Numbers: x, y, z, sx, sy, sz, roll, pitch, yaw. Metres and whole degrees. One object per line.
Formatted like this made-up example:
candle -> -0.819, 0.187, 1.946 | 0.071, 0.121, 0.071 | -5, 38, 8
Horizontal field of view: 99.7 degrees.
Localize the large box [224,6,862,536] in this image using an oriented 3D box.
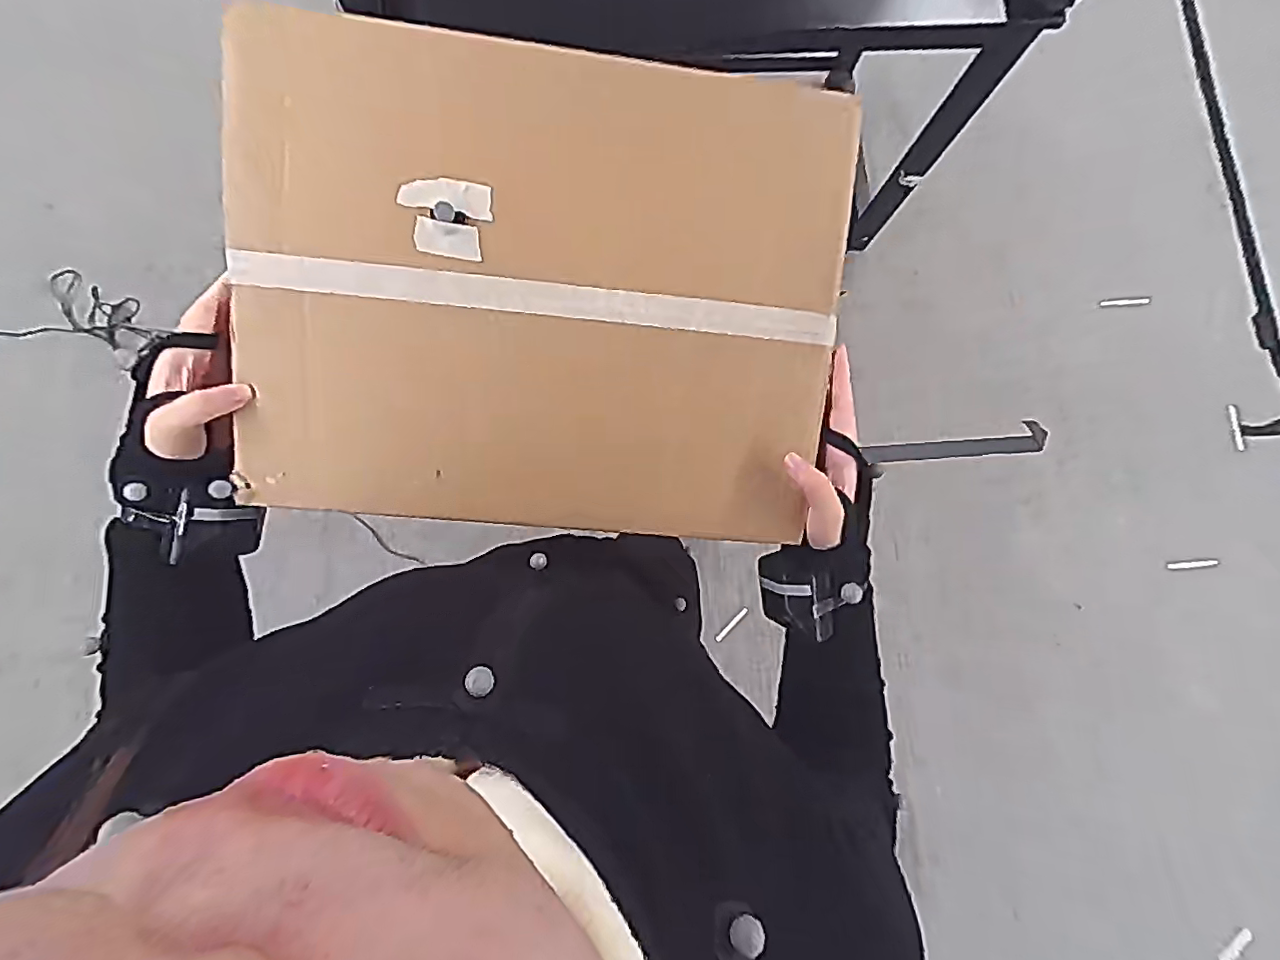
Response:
large box -> -0.071, -0.147, 0.507 | 0.408, 0.320, 0.320 | 4, 99, -5
